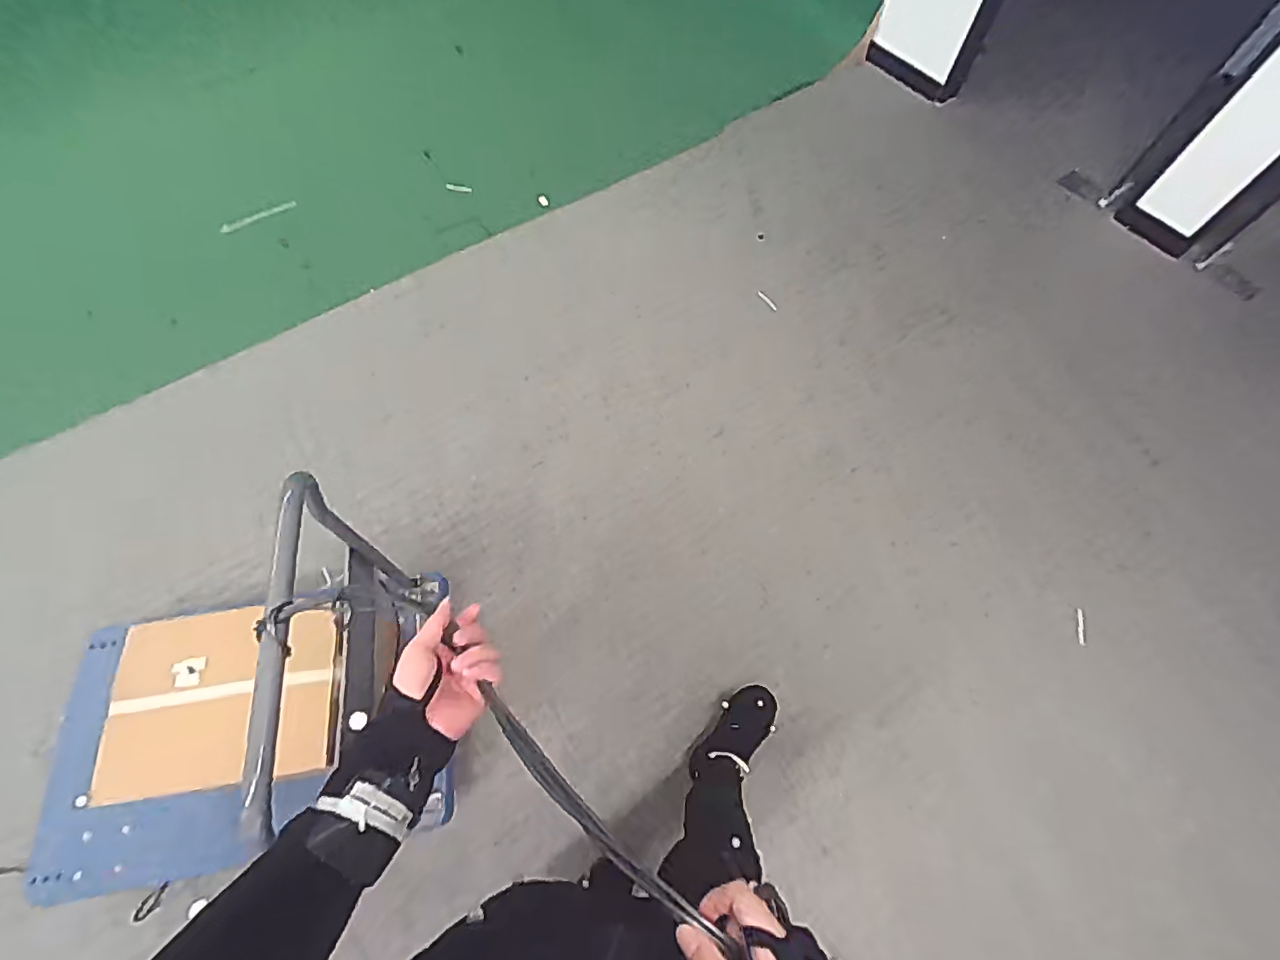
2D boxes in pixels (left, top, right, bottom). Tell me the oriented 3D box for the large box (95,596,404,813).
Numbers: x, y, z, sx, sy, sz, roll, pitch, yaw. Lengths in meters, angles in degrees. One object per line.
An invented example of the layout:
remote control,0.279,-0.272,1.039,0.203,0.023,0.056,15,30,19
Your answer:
large box,-0.749,0.457,1.120,0.408,0.320,0.320,-9,64,-3
